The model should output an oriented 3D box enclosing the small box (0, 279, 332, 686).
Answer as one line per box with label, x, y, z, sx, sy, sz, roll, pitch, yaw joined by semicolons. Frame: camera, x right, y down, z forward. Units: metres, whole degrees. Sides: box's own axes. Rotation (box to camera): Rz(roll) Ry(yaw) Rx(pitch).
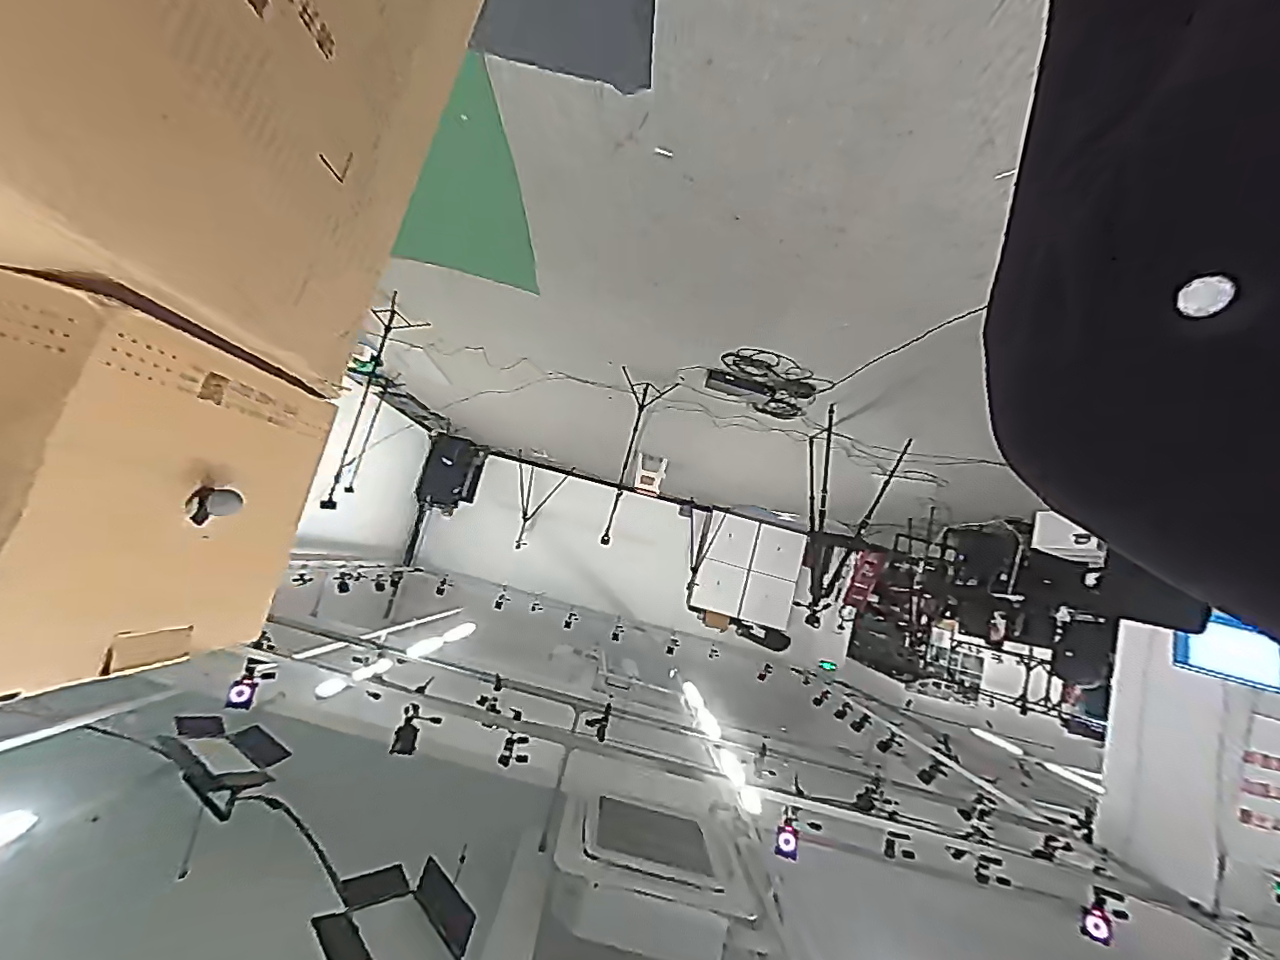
small box;-0.313;-0.005;0.313;0.179;0.176;0.168;15;172;4
